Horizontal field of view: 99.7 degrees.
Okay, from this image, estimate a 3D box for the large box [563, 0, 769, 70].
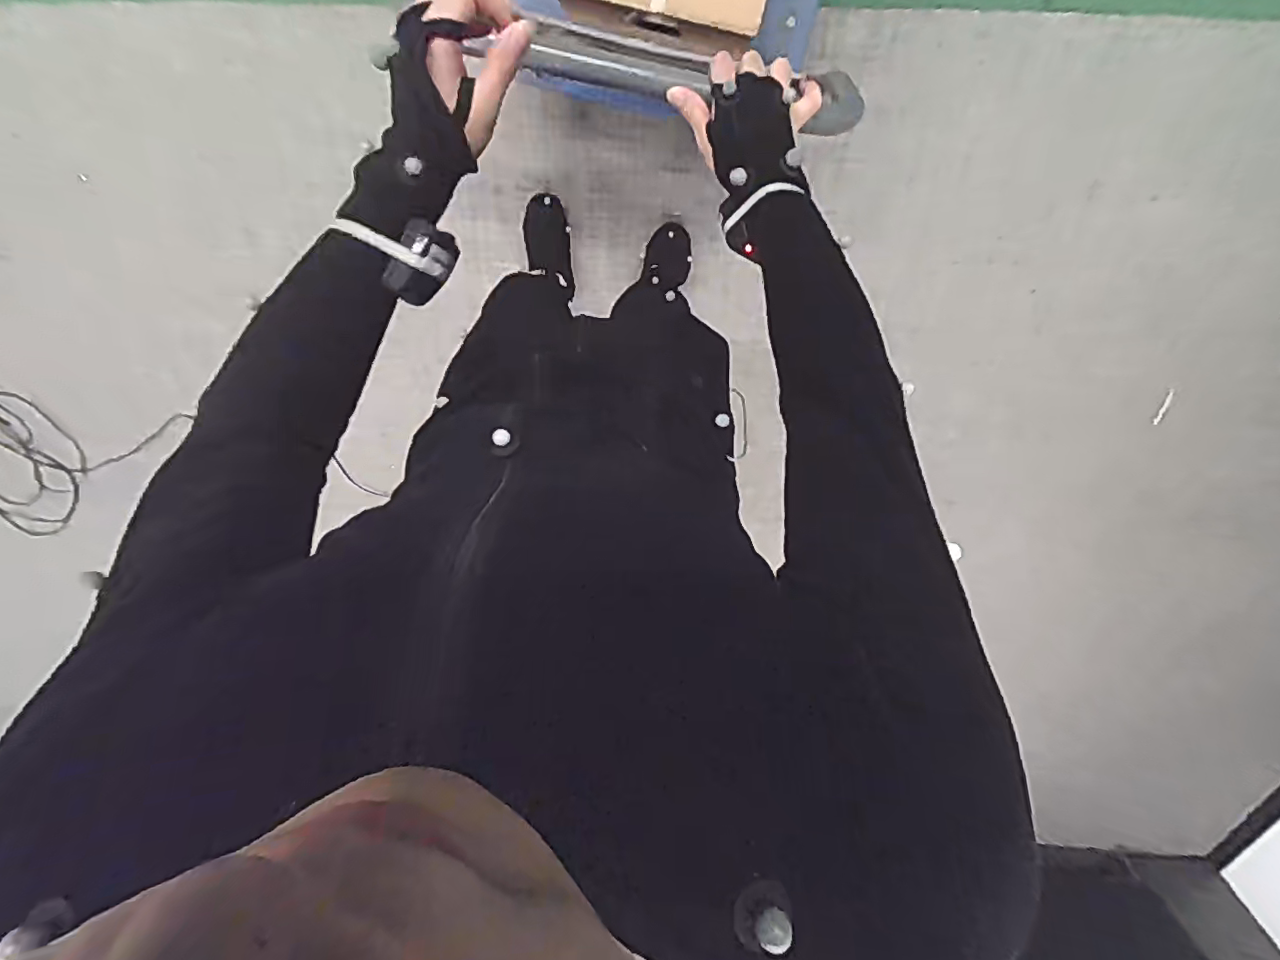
[{"bbox_3d":[0.068,-0.924,0.830,0.320,0.320,0.408,10,119,-4],"label":"large box"}]
